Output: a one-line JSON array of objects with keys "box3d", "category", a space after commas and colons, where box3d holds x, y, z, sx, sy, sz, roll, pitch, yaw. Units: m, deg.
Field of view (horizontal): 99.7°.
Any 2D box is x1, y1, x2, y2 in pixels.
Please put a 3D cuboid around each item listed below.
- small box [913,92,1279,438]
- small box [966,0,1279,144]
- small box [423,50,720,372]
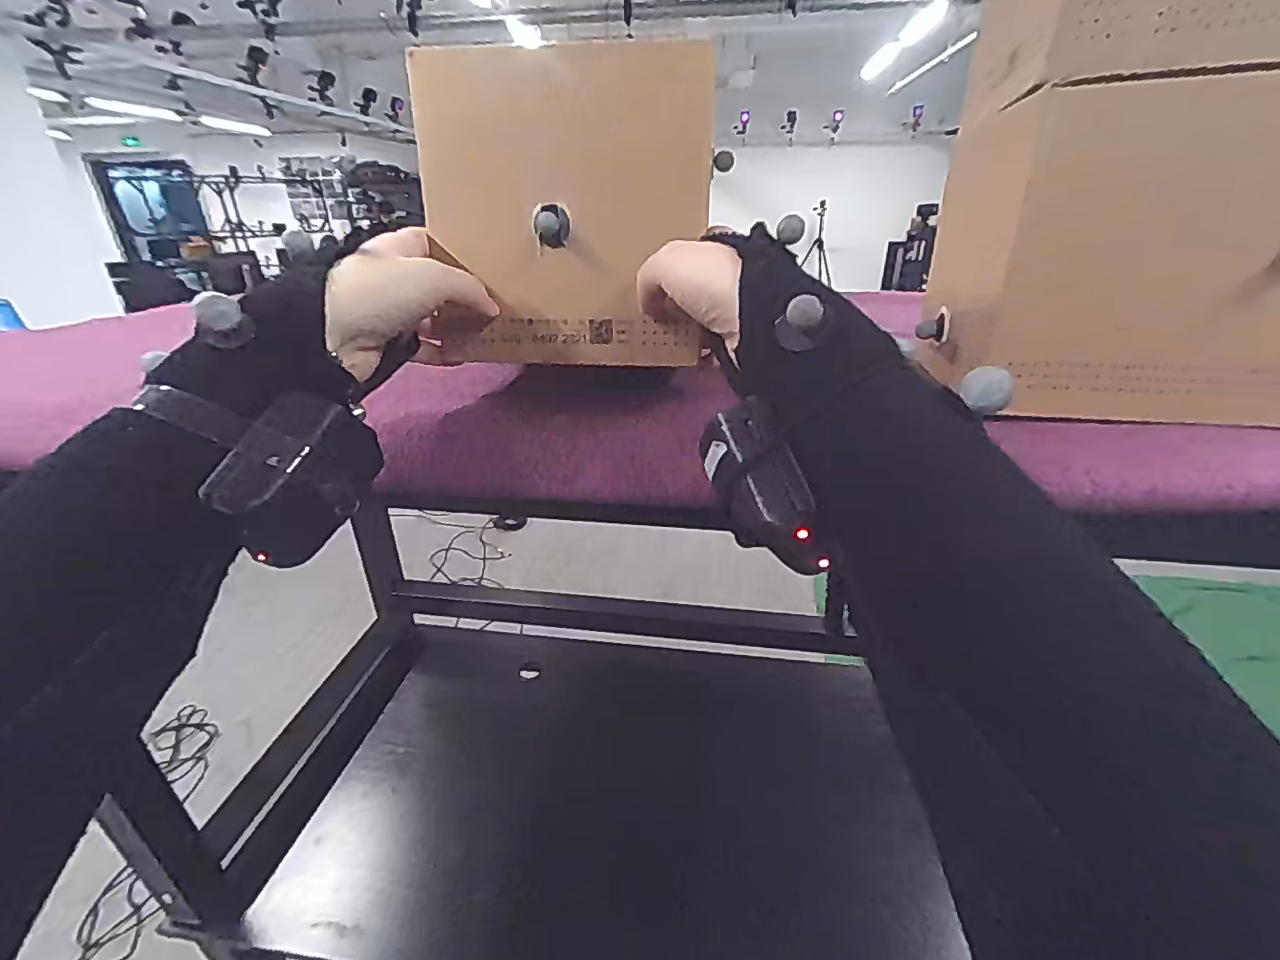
[{"box3d": [0.302, -0.131, 0.352, 0.179, 0.176, 0.168, 4, 23, 12], "category": "small box"}, {"box3d": [0.300, -0.283, 0.294, 0.179, 0.176, 0.168, 7, 24, 15], "category": "small box"}, {"box3d": [-0.029, -0.175, 0.391, 0.168, 0.176, 0.179, 4, 21, 6], "category": "small box"}]
